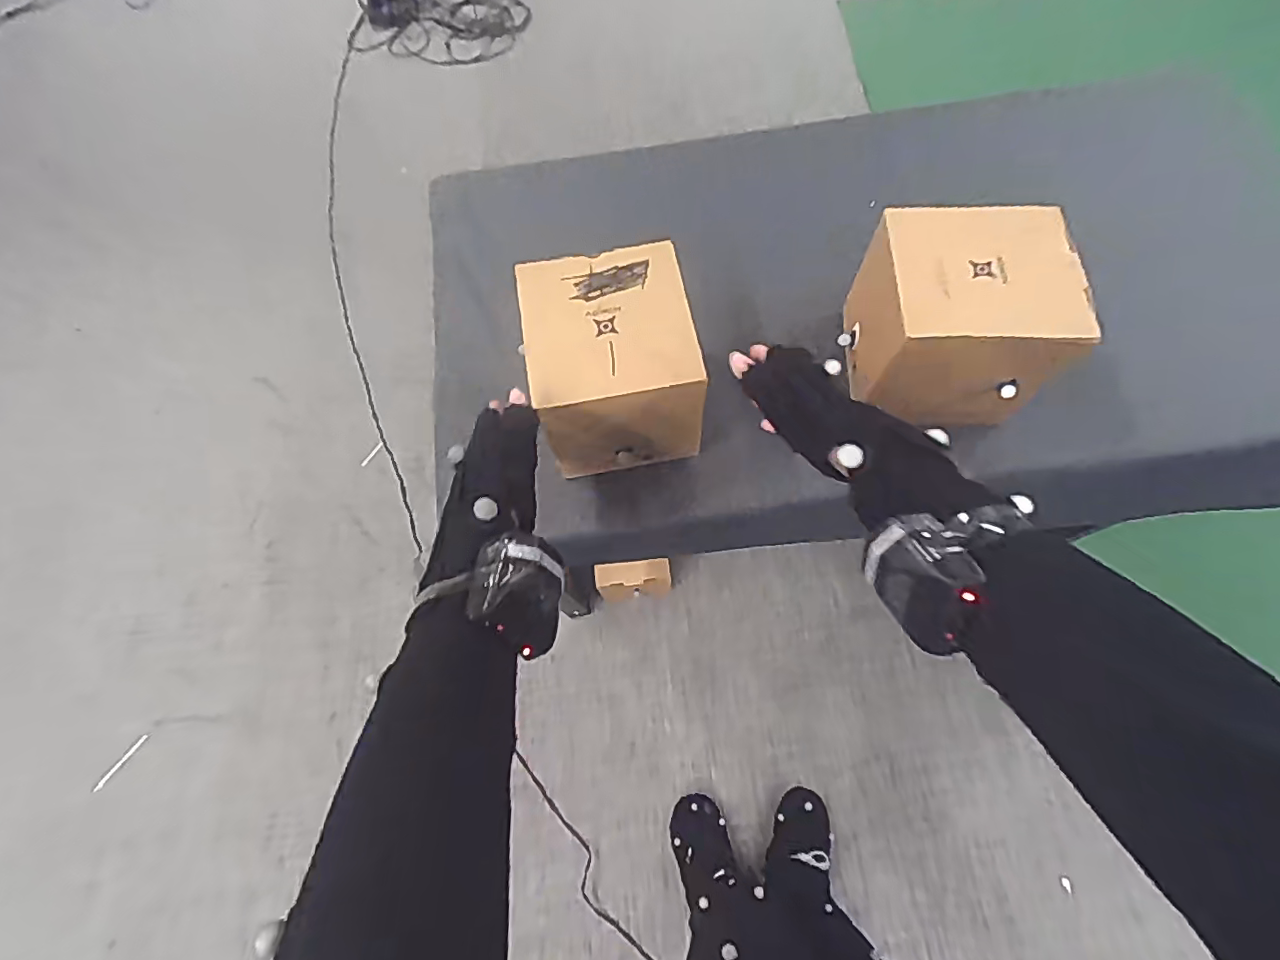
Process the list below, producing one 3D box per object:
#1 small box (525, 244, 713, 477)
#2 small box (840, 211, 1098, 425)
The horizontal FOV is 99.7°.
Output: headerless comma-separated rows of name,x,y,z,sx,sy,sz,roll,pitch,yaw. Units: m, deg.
small box,-0.023,-0.124,0.601,0.168,0.176,0.179,-10,68,-1
small box,0.343,-0.171,0.605,0.179,0.176,0.168,0,67,4
